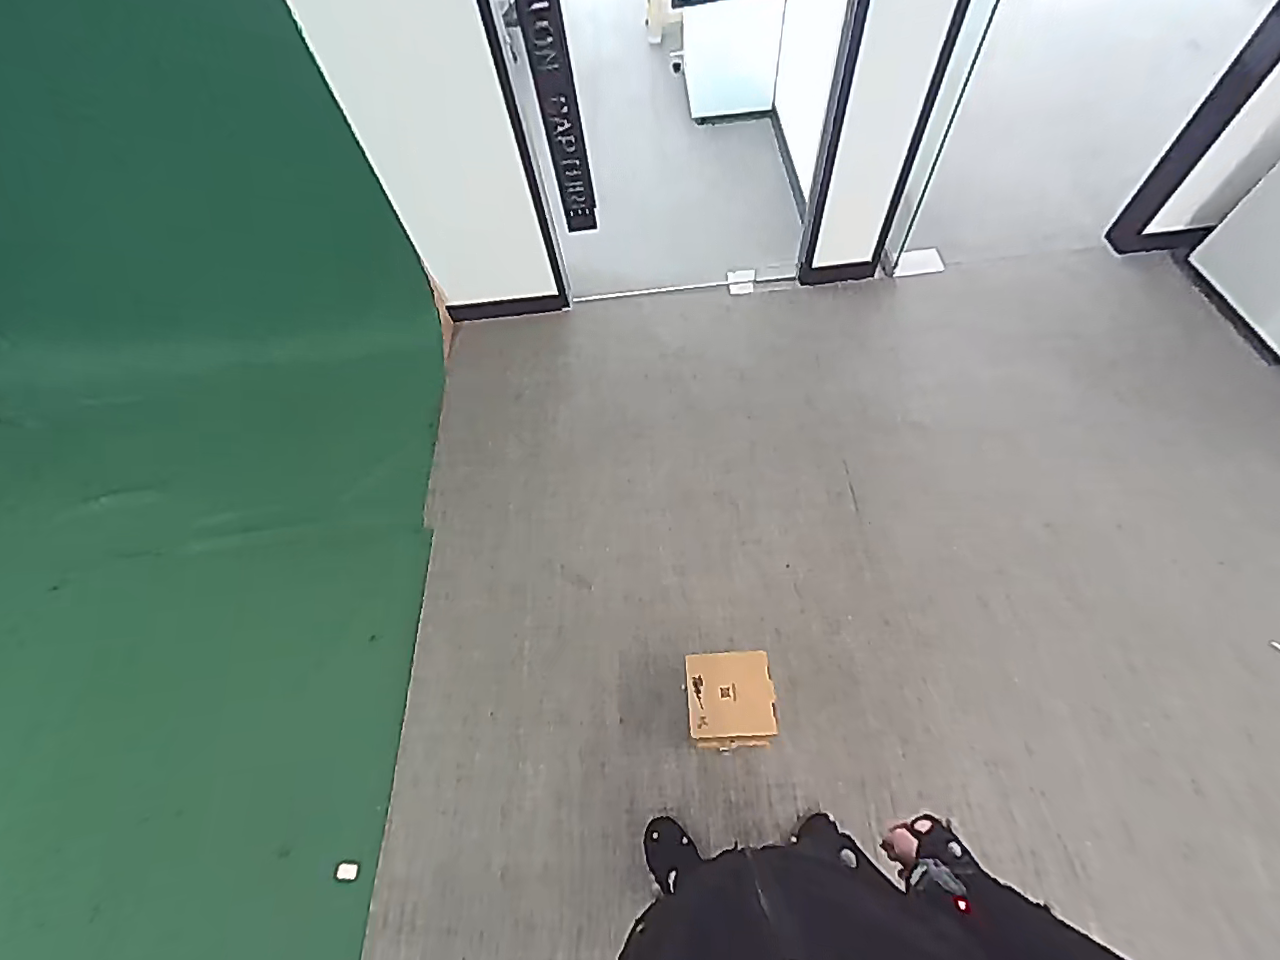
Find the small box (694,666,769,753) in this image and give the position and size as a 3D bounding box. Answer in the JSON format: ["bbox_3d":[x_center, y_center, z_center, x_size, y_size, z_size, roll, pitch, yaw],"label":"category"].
[{"bbox_3d":[0.216,0.562,1.316,0.168,0.176,0.179,-3,60,7],"label":"small box"}]
